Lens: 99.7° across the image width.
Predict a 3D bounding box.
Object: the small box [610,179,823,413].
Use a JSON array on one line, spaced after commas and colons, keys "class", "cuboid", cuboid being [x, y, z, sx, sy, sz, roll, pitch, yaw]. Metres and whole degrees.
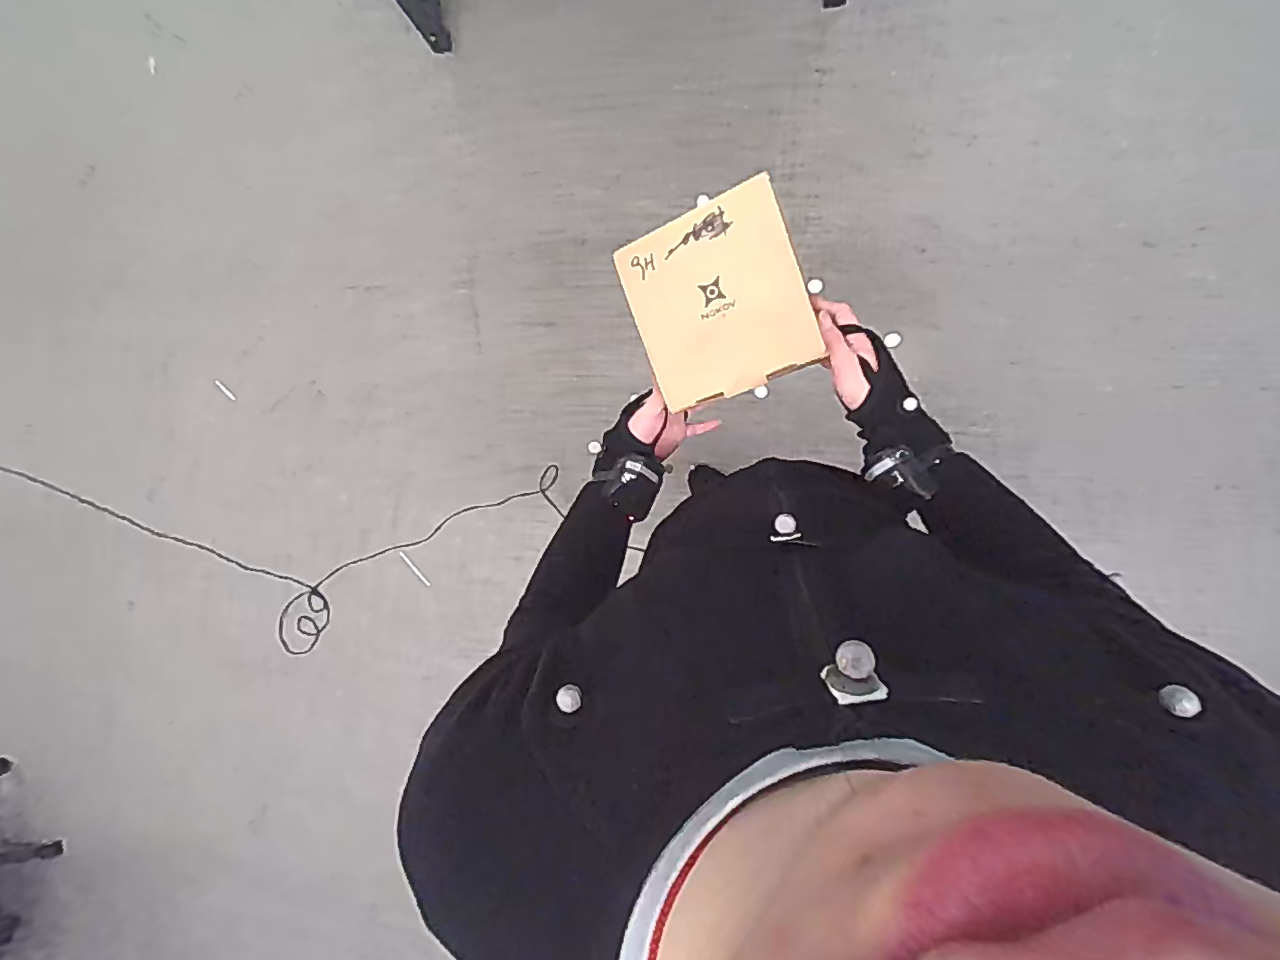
[{"class": "small box", "cuboid": [0.096, -0.189, 0.599, 0.168, 0.176, 0.179, -18, 95, 23]}]
